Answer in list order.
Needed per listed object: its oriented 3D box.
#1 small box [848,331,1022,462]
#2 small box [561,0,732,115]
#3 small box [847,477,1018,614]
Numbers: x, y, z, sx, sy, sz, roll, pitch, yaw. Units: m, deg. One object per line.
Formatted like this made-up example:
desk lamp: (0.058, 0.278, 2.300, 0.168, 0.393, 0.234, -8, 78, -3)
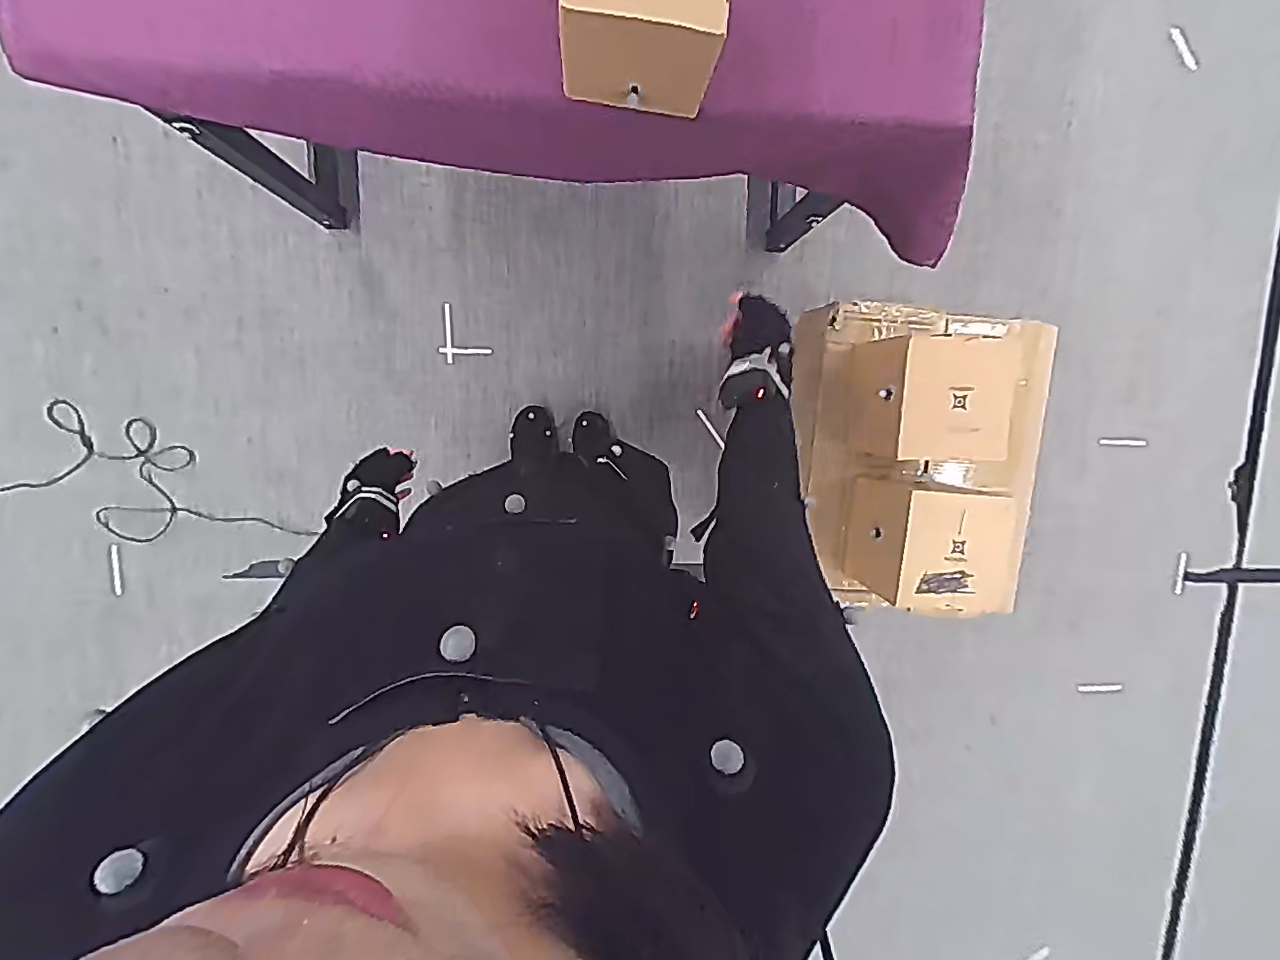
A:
small box: (0.438, -0.125, 0.829, 0.168, 0.176, 0.179, 1, 99, -4)
small box: (0.005, -0.560, 0.625, 0.179, 0.176, 0.168, 5, 96, -7)
small box: (0.449, 0.096, 0.859, 0.168, 0.176, 0.179, 5, 95, -5)
